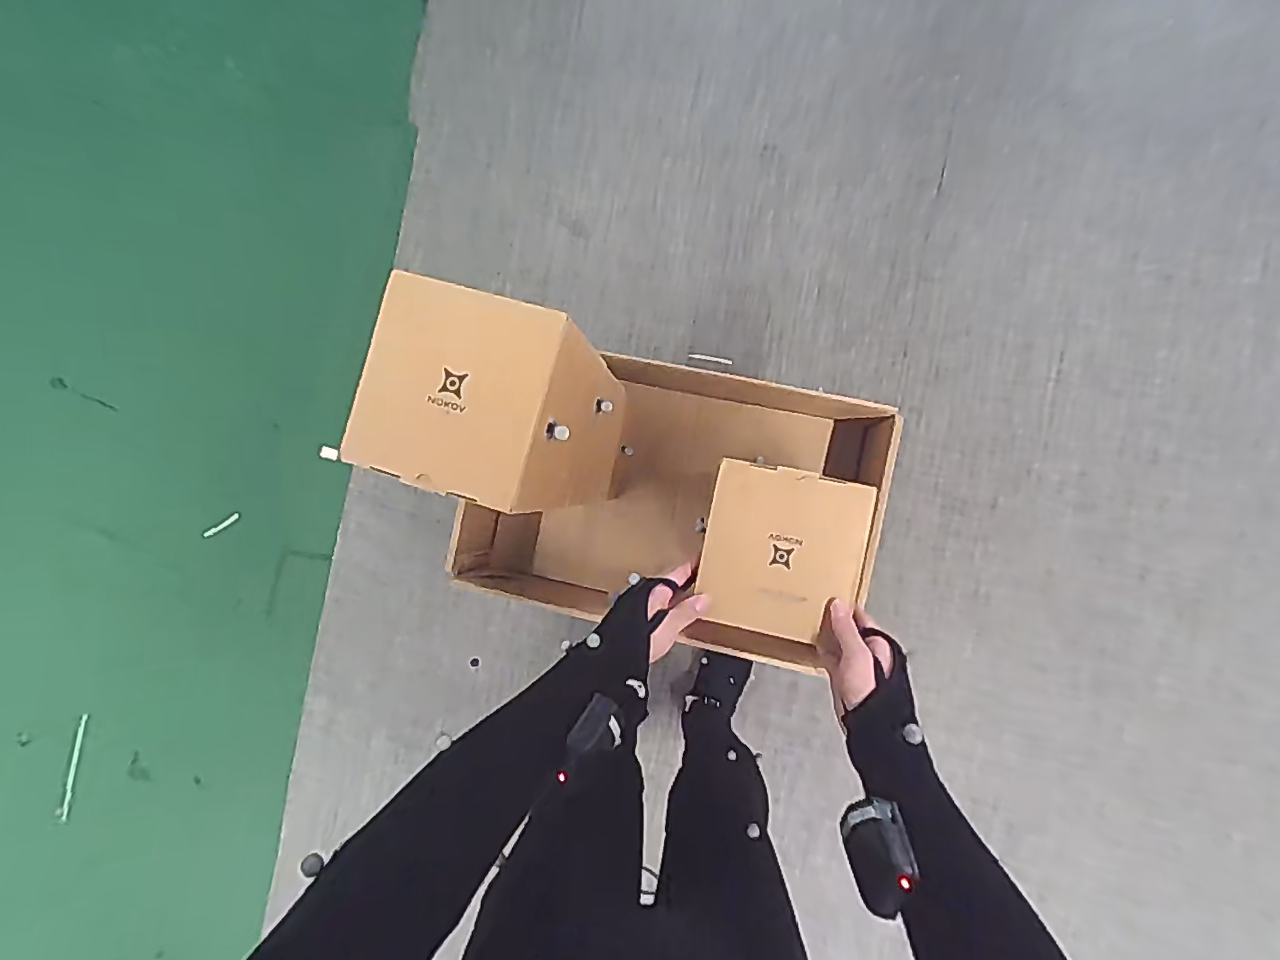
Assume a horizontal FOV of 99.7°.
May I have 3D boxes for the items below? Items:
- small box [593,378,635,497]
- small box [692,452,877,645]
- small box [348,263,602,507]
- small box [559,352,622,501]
[{"bbox_3d":[-0.109,-0.076,0.864,0.168,0.176,0.179,13,90,8],"label":"small box"},{"bbox_3d":[0.159,0.074,0.650,0.168,0.176,0.179,12,90,6],"label":"small box"},{"bbox_3d":[-0.145,-0.082,0.541,0.168,0.176,0.179,17,92,7],"label":"small box"},{"bbox_3d":[-0.128,-0.079,0.702,0.168,0.176,0.179,16,91,8],"label":"small box"}]
